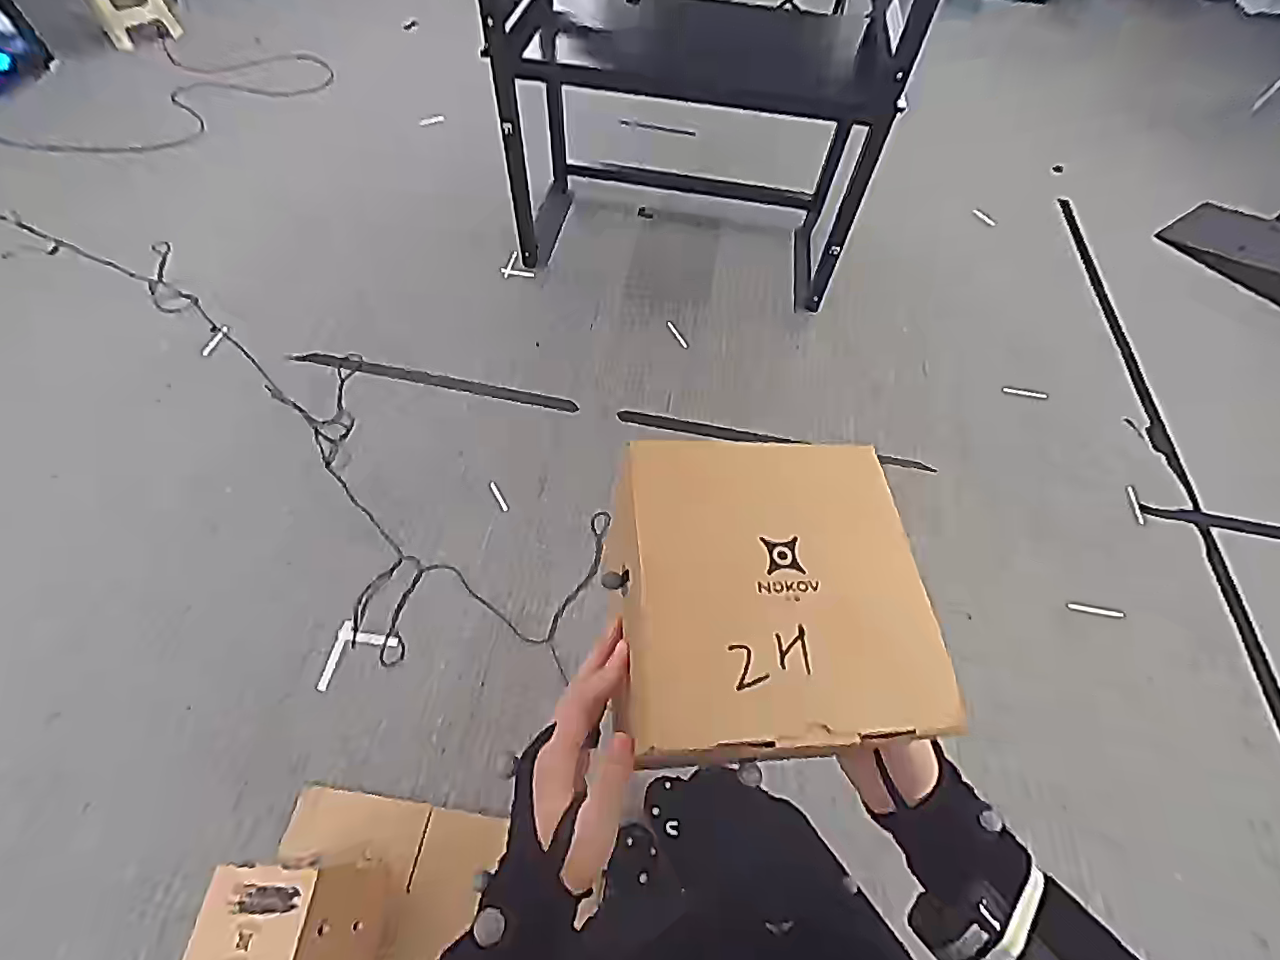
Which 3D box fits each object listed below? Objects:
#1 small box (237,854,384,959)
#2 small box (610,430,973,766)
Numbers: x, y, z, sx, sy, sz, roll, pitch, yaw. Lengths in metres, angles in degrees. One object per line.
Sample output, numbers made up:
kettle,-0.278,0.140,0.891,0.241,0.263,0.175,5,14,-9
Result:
small box,-0.617,0.832,1.036,0.168,0.176,0.179,5,59,0
small box,0.070,0.087,0.367,0.168,0.176,0.179,1,59,-9
